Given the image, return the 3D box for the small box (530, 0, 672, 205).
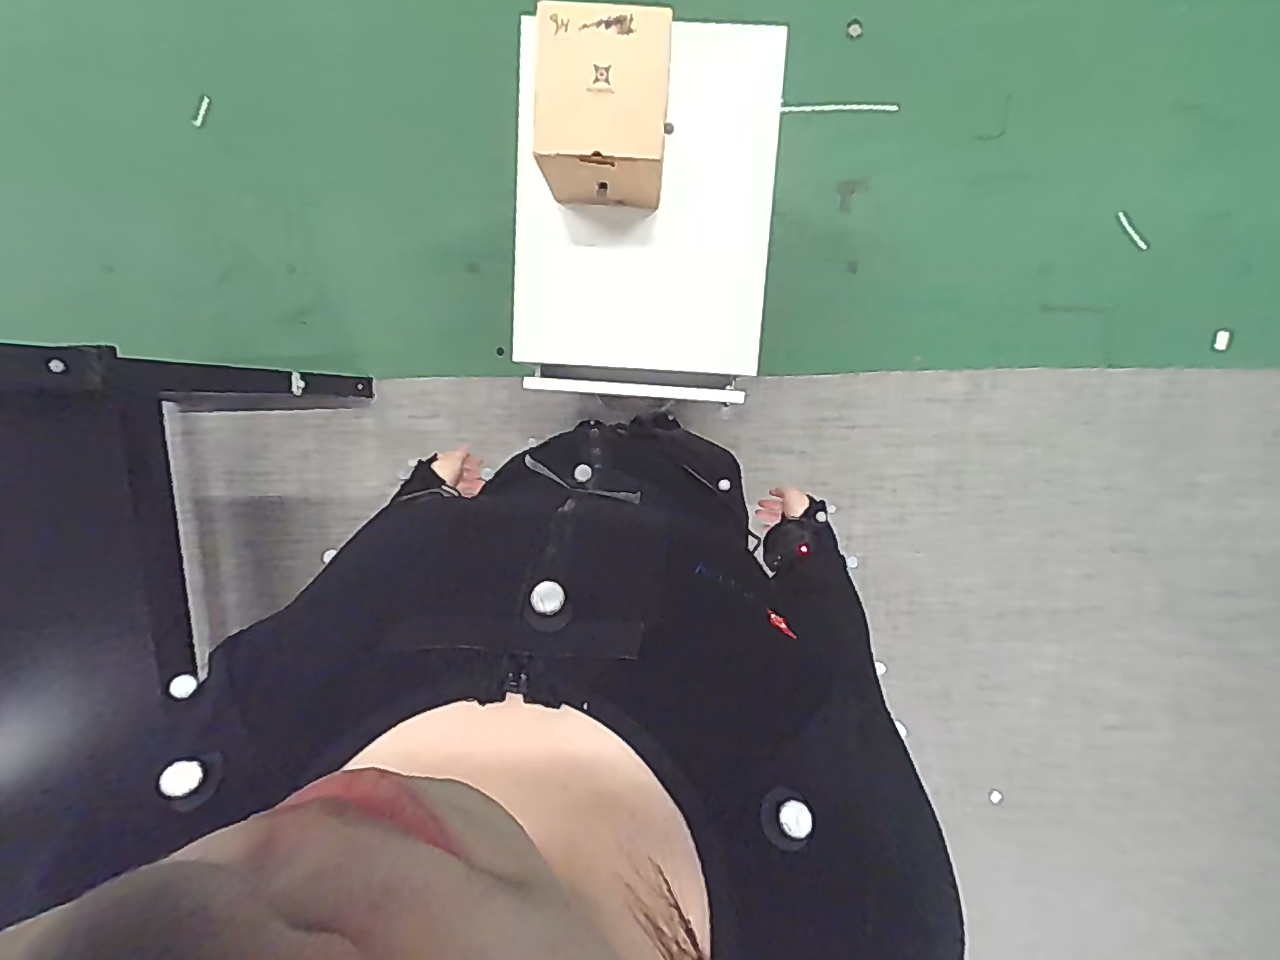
[{"bbox_3d":[-0.046,-0.492,0.733,0.168,0.176,0.179,4,99,0],"label":"small box"}]
